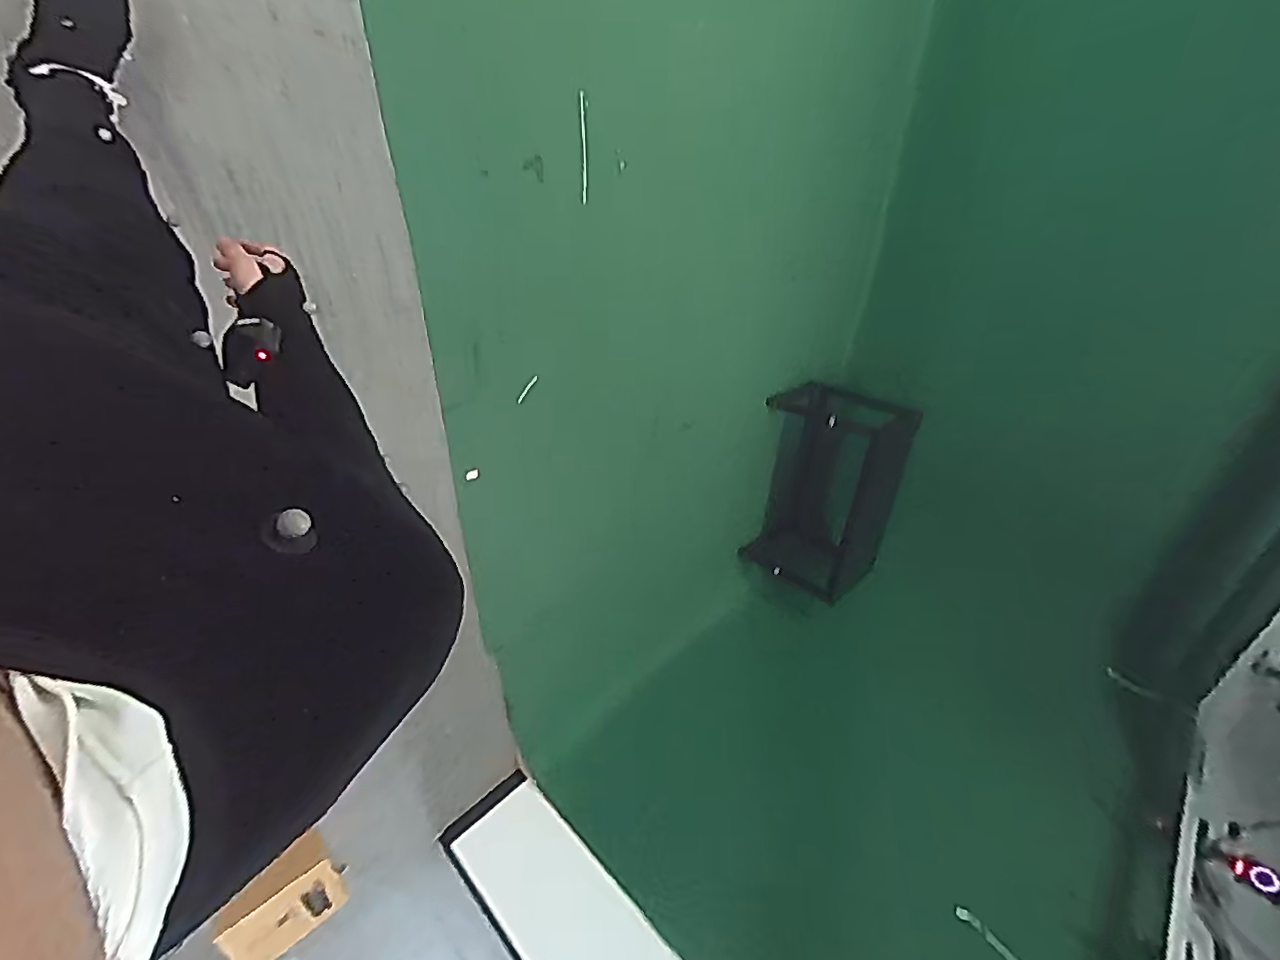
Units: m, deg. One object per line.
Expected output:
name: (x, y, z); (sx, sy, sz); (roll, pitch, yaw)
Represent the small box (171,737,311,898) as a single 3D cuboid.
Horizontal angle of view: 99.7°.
small box: (-0.807, 0.671, 1.092); (0.179, 0.176, 0.168); (-27, 132, -40)
